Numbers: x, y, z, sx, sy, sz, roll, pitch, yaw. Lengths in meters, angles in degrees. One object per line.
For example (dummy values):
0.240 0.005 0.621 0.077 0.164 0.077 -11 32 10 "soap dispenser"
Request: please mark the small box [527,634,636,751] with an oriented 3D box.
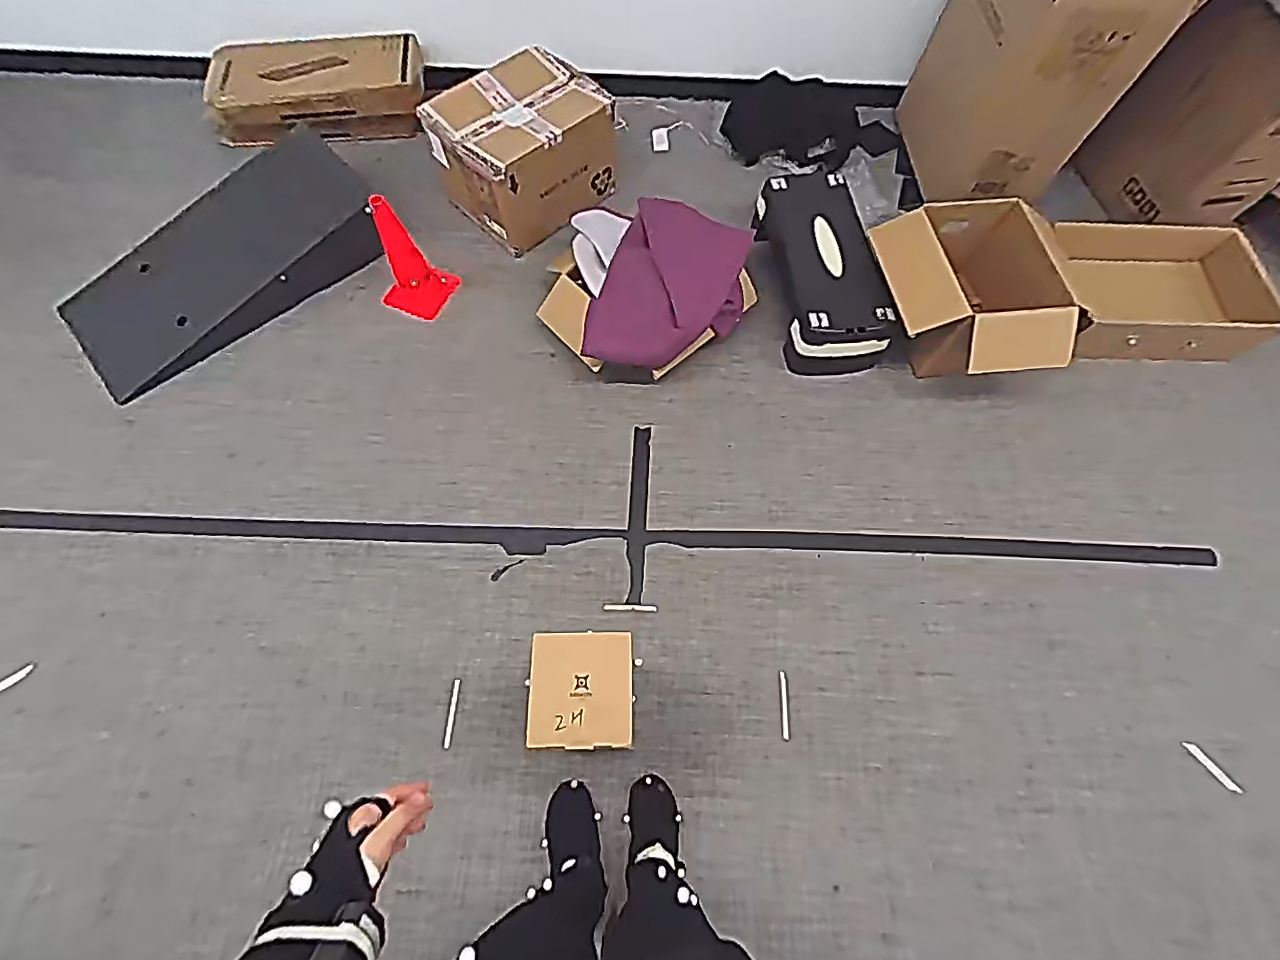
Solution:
-0.093 0.368 0.934 0.168 0.176 0.179 0 66 0 "small box"
